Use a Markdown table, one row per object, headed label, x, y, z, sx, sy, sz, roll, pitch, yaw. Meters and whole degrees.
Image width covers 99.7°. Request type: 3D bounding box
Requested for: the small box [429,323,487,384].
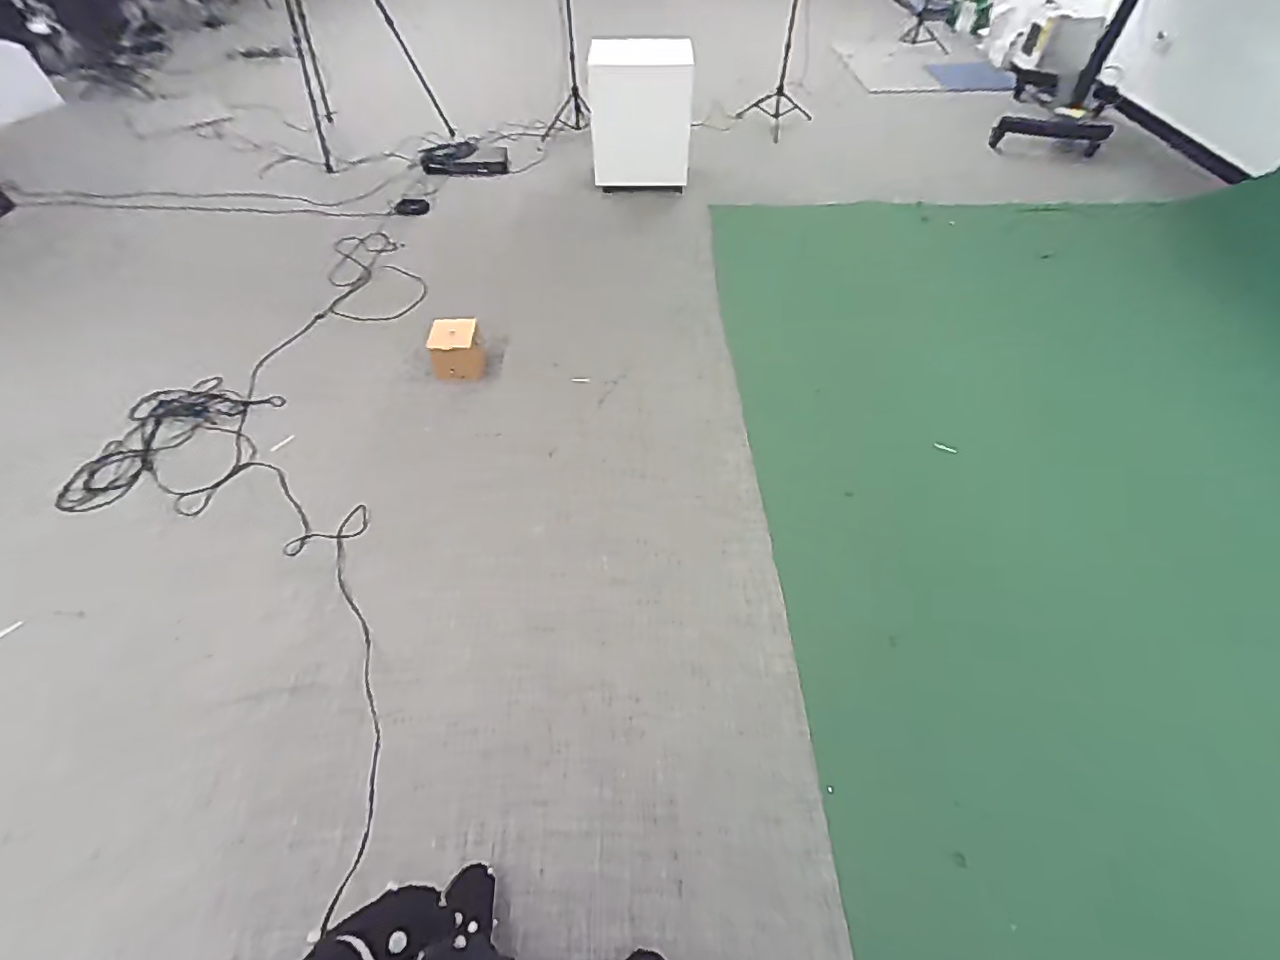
| label | x | y | z | sx | sy | sz | roll | pitch | yaw |
| --- | --- | --- | --- | --- | --- | --- | --- | --- | --- |
| small box | -0.708 | -0.499 | 2.129 | 0.168 | 0.176 | 0.179 | -2 | 53 | -1 |
